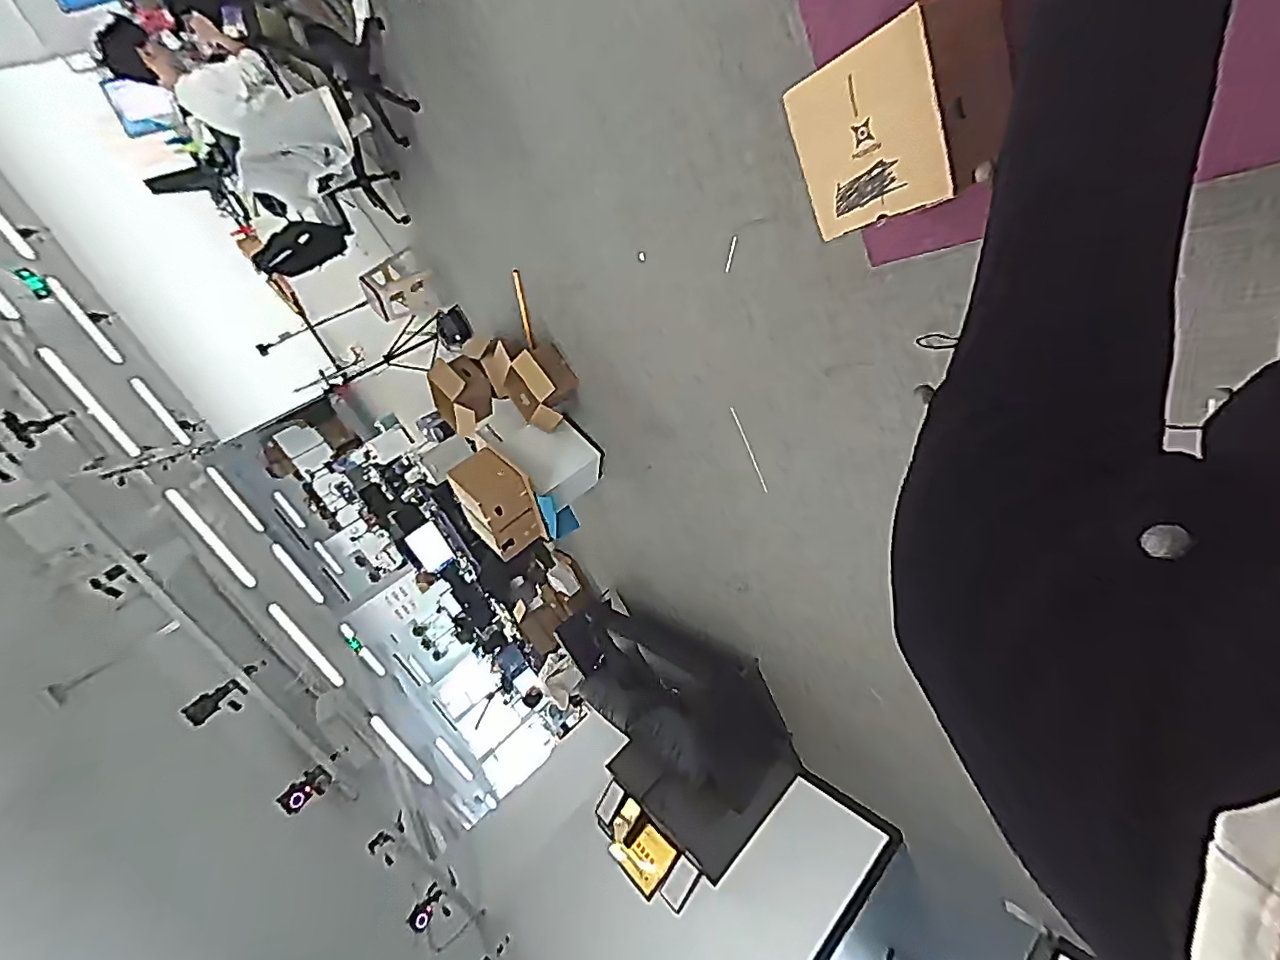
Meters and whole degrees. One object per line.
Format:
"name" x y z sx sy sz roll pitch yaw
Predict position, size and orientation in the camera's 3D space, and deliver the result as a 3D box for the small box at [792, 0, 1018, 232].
"small box" 0.319 -0.432 0.647 0.168 0.176 0.179 10 130 57
